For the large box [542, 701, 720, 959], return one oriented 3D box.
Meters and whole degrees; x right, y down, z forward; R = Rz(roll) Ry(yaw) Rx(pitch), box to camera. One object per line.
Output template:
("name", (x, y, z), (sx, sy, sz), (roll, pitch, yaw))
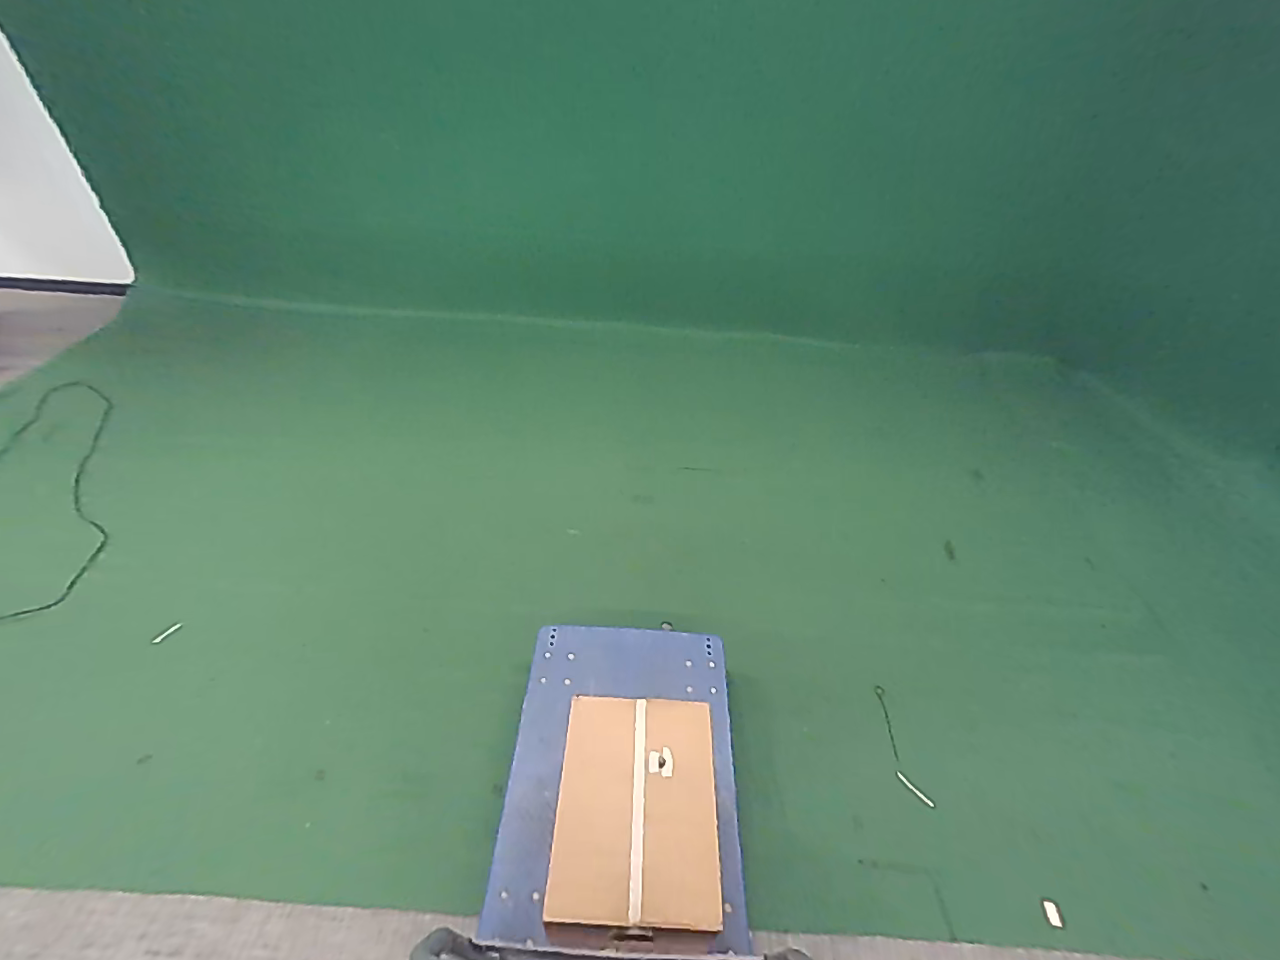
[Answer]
("large box", (-0.020, 0.748, 1.165), (0.320, 0.320, 0.408), (4, 40, -1))
